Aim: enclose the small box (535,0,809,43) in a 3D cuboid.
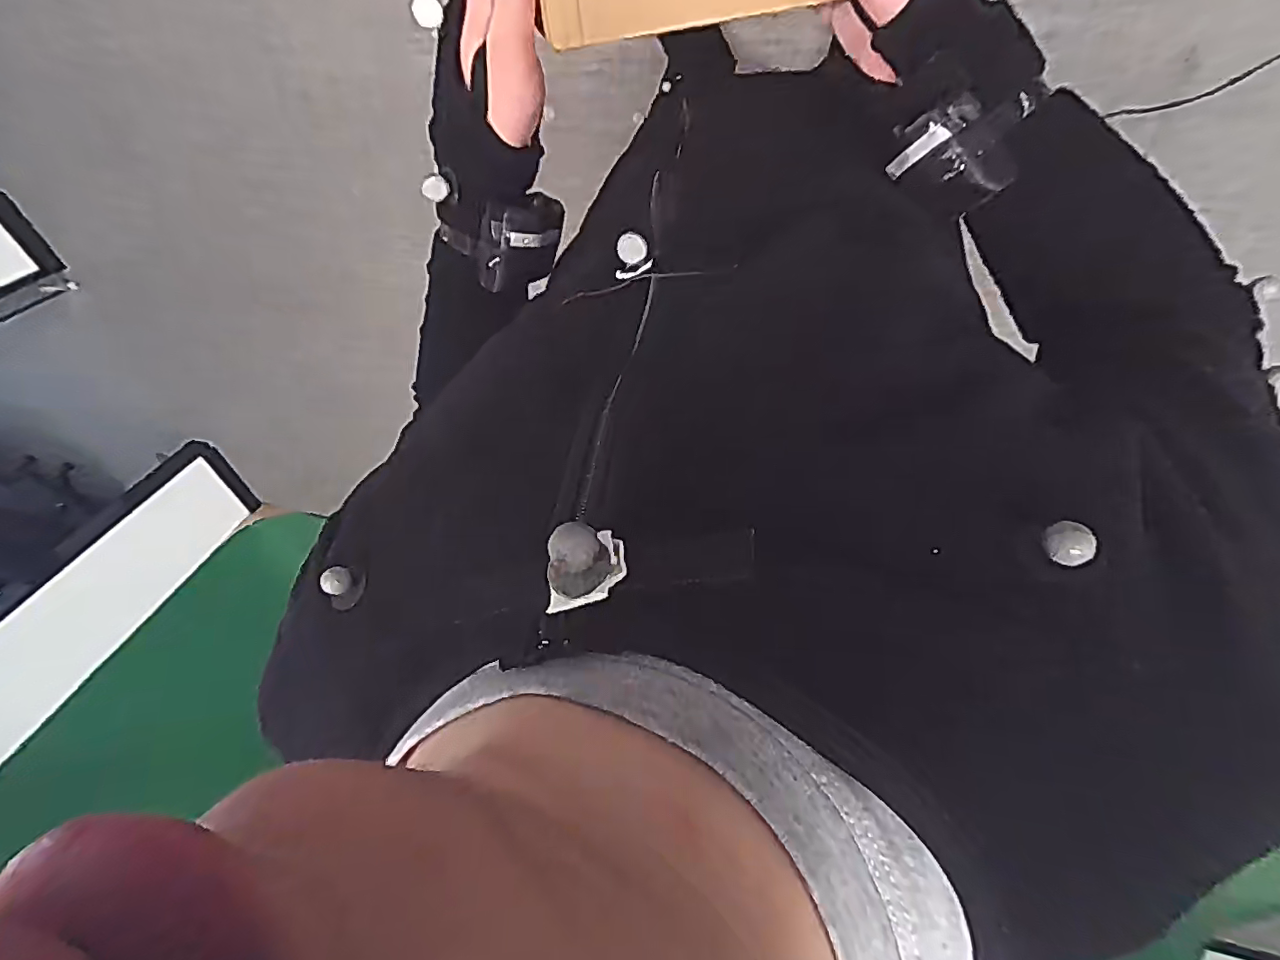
[{"bbox_3d":[-0.001,-0.359,0.269,0.168,0.176,0.179,-16,144,-7],"label":"small box"}]
